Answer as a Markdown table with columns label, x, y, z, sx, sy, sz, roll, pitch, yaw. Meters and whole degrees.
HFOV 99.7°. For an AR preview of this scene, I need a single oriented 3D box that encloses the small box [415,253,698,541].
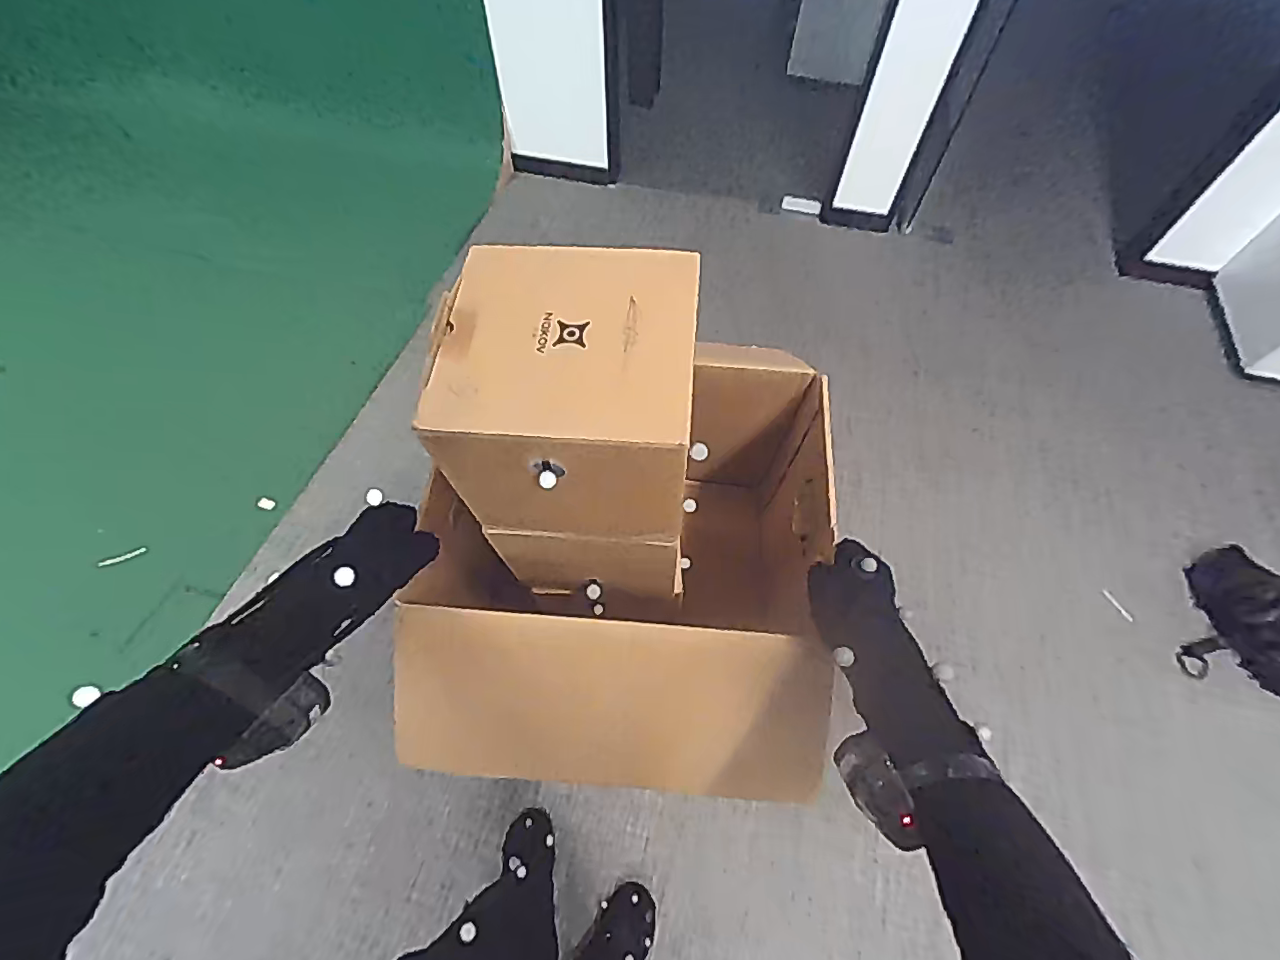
| label | x | y | z | sx | sy | sz | roll | pitch | yaw |
| --- | --- | --- | --- | --- | --- | --- | --- | --- | --- |
| small box | -0.047 | -0.056 | 0.436 | 0.179 | 0.176 | 0.168 | 3 | 64 | 2 |
